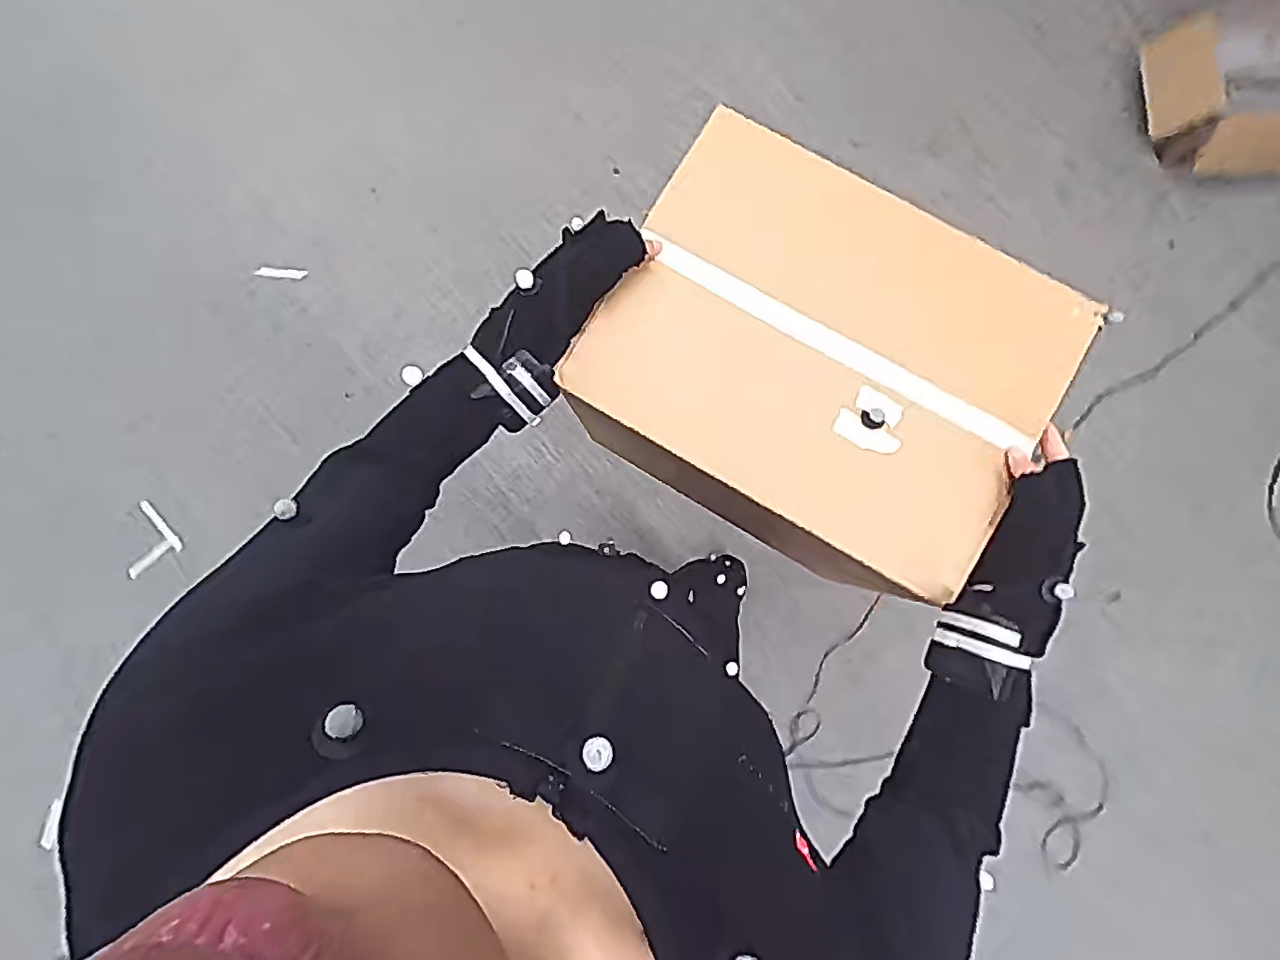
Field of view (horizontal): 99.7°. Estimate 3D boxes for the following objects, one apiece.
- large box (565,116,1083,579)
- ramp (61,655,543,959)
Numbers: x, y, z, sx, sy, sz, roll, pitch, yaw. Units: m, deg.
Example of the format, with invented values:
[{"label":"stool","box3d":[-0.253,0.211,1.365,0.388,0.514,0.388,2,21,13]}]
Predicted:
[{"label":"large box","box3d":[0.172,-0.120,0.654,0.408,0.320,0.320,30,86,4]},{"label":"ramp","box3d":[-0.777,0.949,1.319,0.991,0.206,0.509,-42,83,-5]}]
